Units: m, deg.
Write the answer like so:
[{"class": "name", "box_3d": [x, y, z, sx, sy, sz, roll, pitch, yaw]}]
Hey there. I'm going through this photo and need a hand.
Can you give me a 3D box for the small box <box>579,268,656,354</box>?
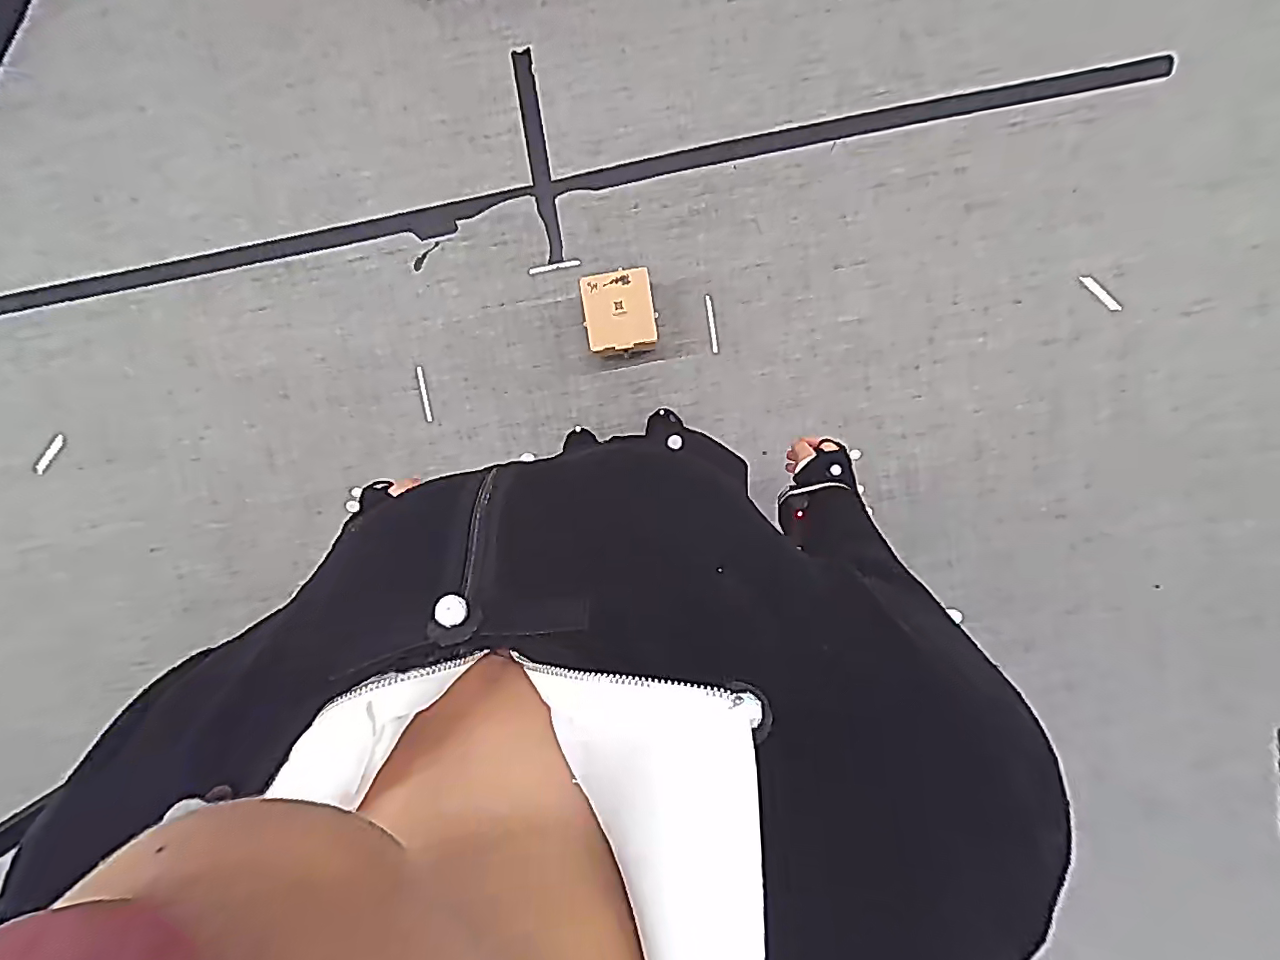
[{"class": "small box", "box_3d": [-0.050, -0.416, 1.363, 0.168, 0.176, 0.179, -8, 98, 2]}]
